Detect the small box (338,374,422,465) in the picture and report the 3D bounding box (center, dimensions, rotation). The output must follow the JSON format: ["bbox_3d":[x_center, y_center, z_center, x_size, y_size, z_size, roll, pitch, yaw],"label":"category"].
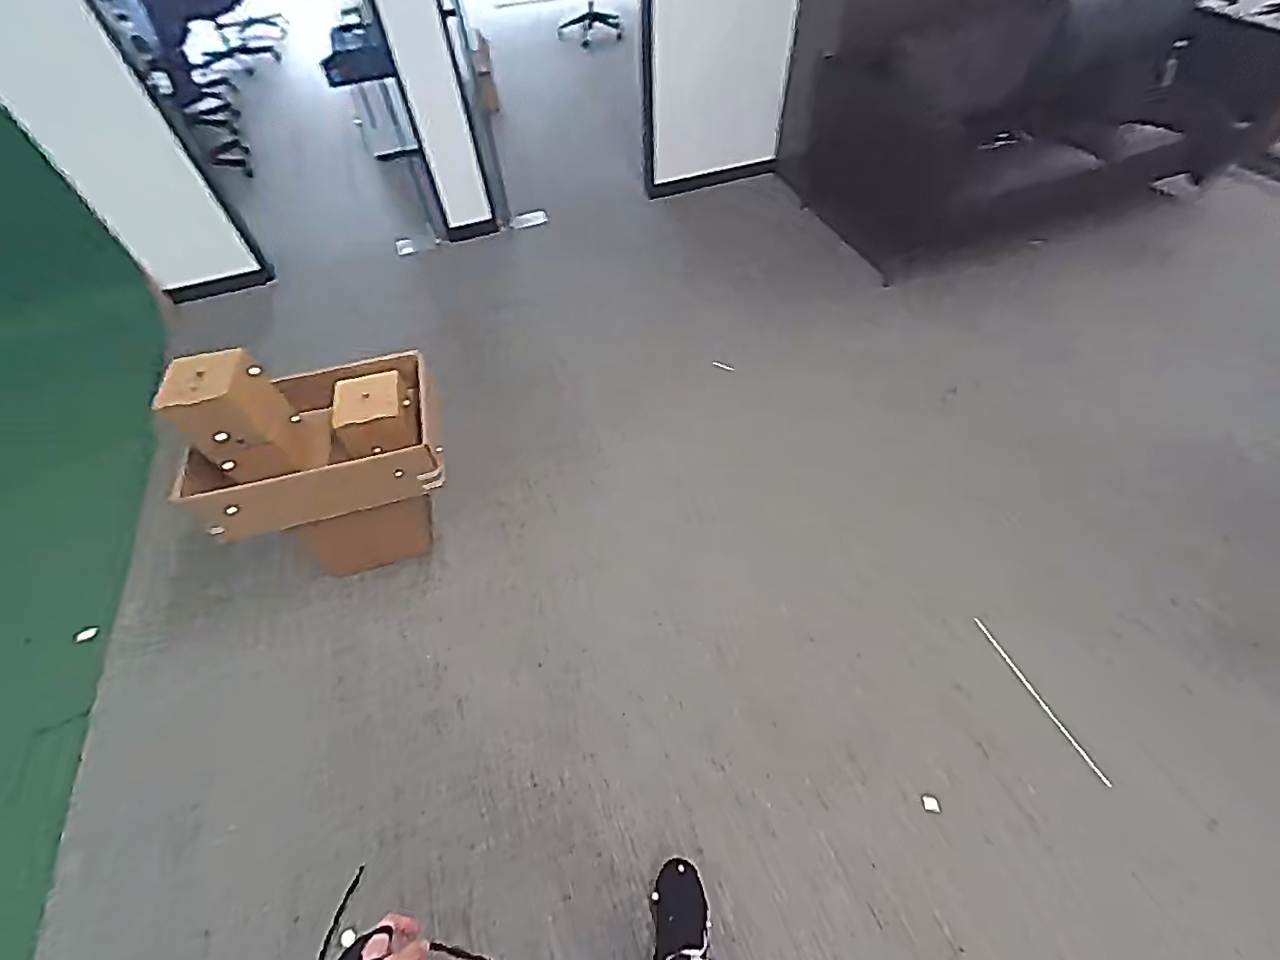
[{"bbox_3d":[-0.728,-0.170,1.529,0.168,0.176,0.179,-14,55,-7],"label":"small box"}]

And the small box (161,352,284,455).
[{"bbox_3d":[-1.030,-0.189,1.354,0.168,0.176,0.179,-12,54,-5],"label":"small box"}]
